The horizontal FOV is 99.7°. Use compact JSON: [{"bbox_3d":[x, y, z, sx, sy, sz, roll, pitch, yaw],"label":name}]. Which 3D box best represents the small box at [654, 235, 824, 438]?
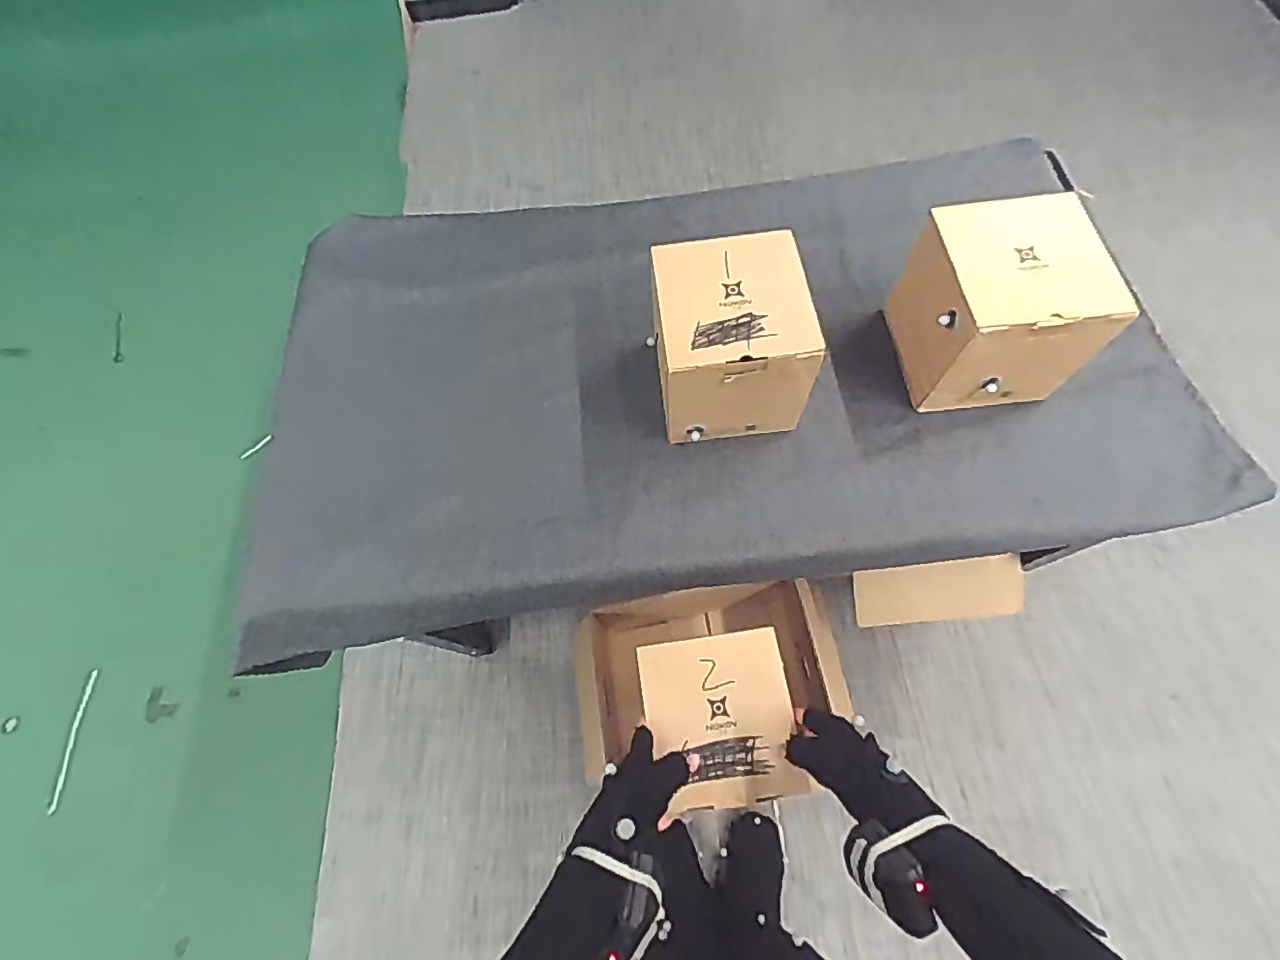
[{"bbox_3d":[0.109,-0.162,0.661,0.168,0.176,0.179,-6,66,1],"label":"small box"}]

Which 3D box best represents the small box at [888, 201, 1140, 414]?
[{"bbox_3d":[0.427,-0.201,0.657,0.168,0.176,0.179,-6,67,2],"label":"small box"}]
